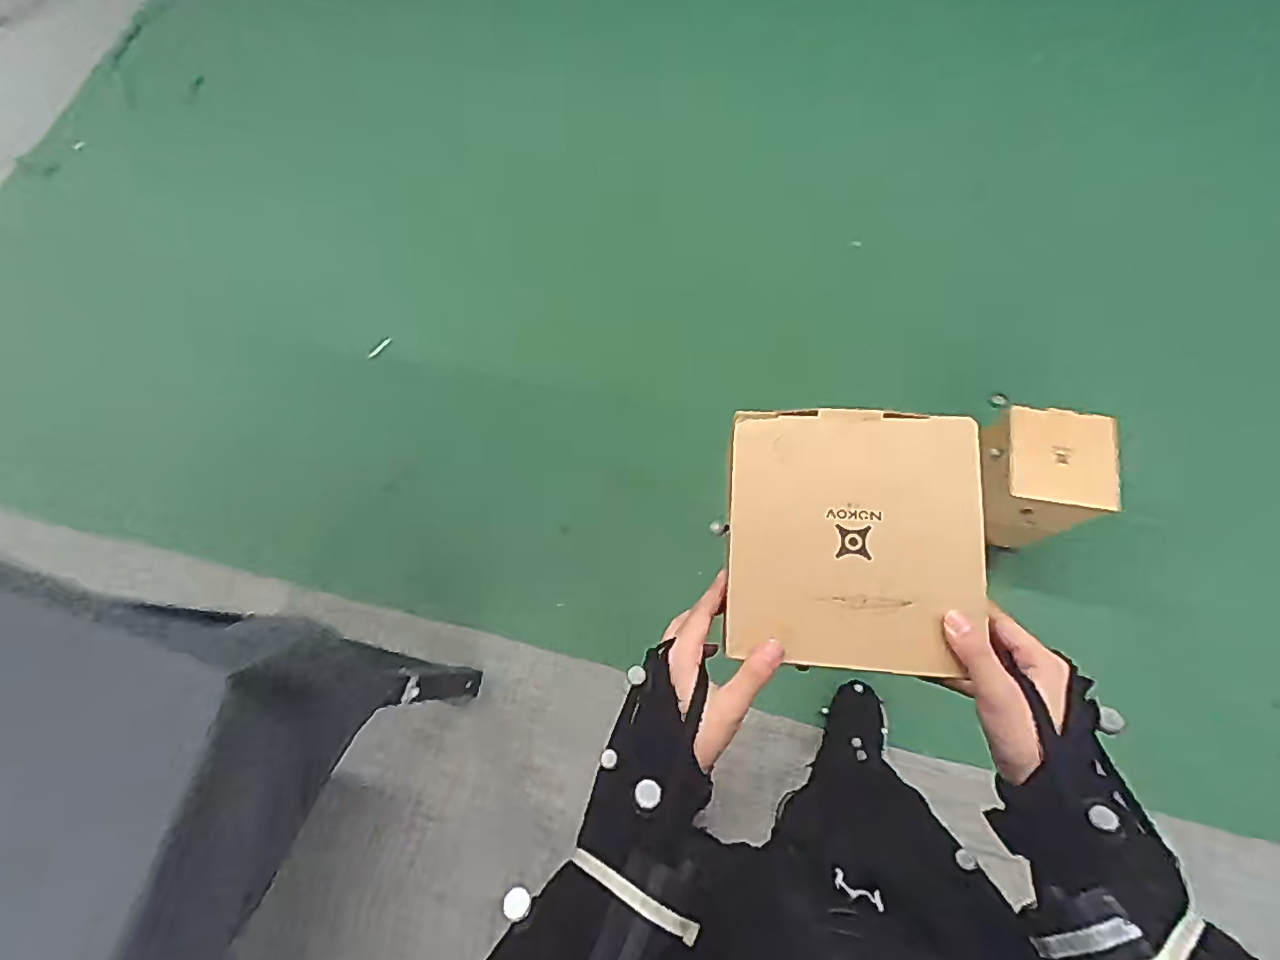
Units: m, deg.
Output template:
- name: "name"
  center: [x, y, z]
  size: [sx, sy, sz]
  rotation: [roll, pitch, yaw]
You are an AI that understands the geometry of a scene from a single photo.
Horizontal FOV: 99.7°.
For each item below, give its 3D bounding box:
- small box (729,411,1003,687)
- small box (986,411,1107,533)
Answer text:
- name: "small box"
  center: [0.162, 0.057, 0.441]
  size: [0.168, 0.176, 0.179]
  rotation: [3, 78, 8]
- name: "small box"
  center: [0.727, -0.008, 1.015]
  size: [0.168, 0.176, 0.179]
  rotation: [8, 72, 9]
